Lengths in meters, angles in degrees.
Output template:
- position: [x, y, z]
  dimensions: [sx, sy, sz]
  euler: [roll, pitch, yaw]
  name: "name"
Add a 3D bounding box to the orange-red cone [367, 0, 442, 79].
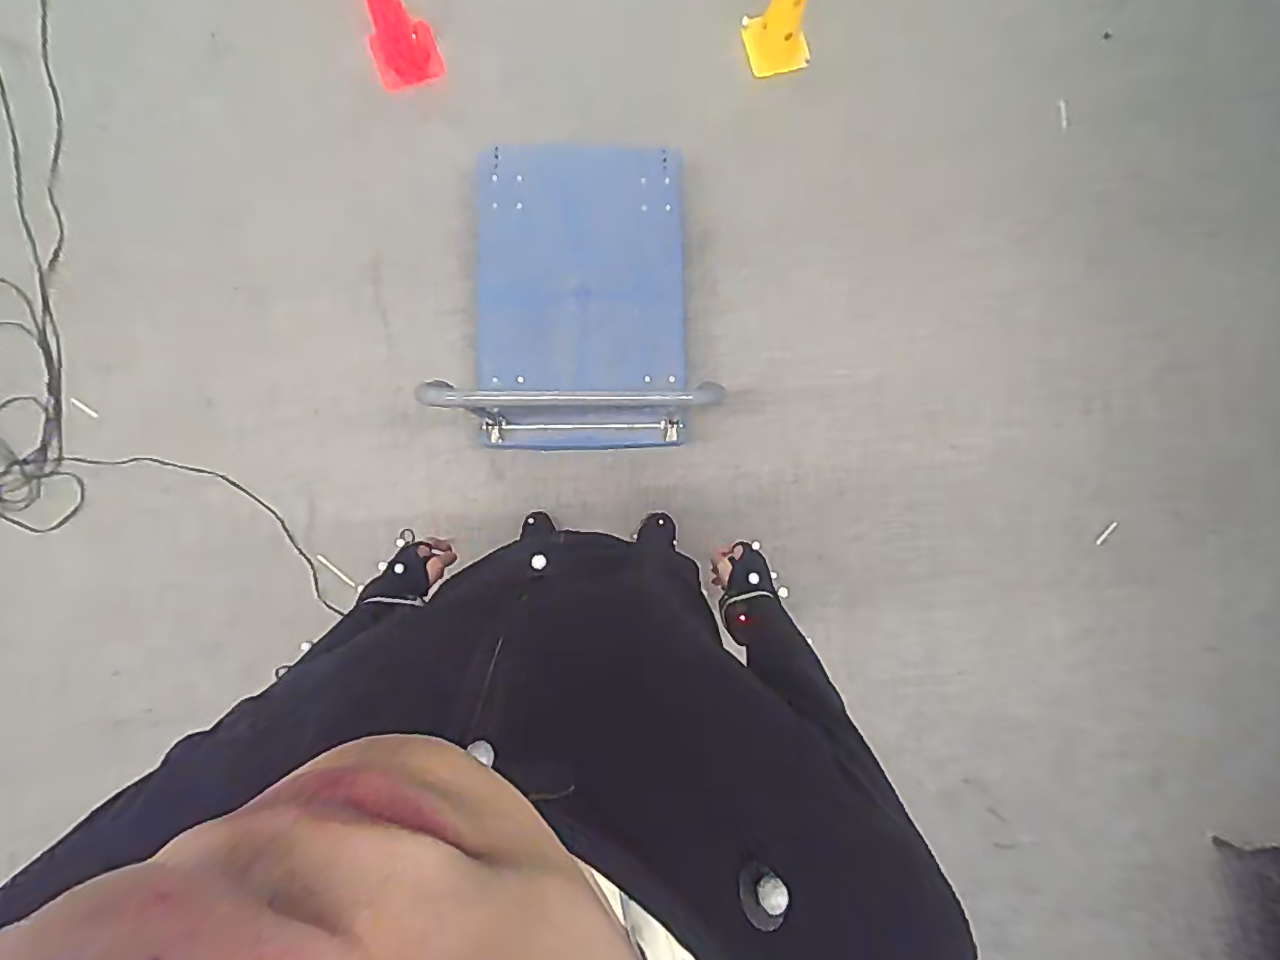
- position: [-0.727, -1.367, 1.515]
  dimensions: [0.199, 0.360, 0.198]
  euler: [-19, 87, -3]
  name: "orange-red cone"
